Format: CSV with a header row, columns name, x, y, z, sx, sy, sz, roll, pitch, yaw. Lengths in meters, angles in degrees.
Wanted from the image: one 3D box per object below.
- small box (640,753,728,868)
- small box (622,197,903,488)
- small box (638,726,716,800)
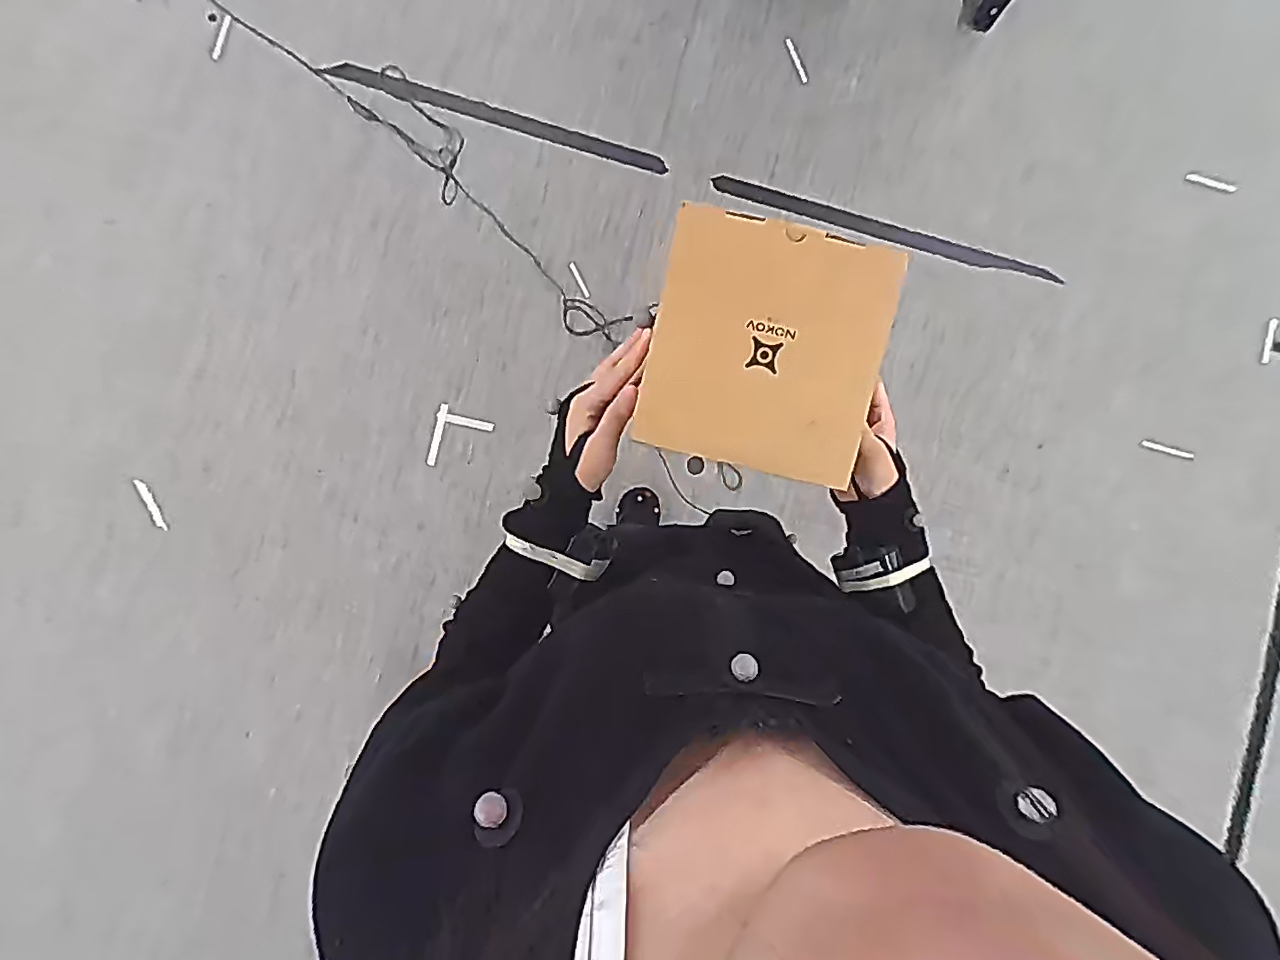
name,x,y,z,sx,sy,sz,roll,pitch,yaw
small box,0.094,0.746,1.235,0.179,0.176,0.168,4,86,-1
small box,0.088,-0.100,0.464,0.168,0.176,0.179,14,92,-1
small box,0.091,0.752,1.398,0.179,0.176,0.168,3,87,-3
